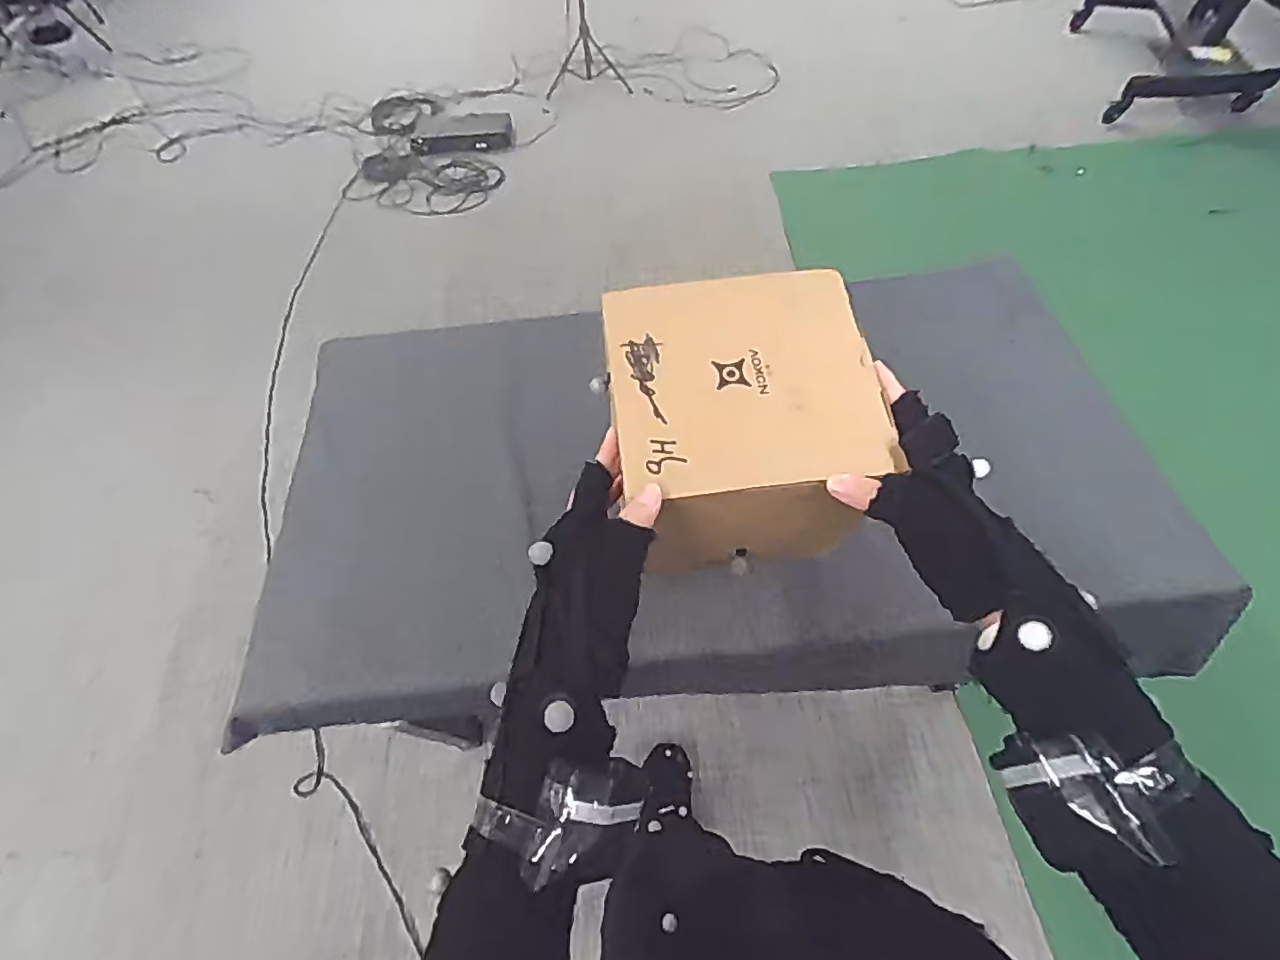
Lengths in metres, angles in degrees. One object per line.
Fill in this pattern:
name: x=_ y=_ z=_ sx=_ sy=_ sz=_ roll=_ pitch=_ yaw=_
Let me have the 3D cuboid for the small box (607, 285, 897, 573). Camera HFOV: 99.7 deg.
small box: x=0.066 y=-0.032 z=0.438 sx=0.179 sy=0.176 sz=0.168 roll=-5 pitch=63 yaw=-4
